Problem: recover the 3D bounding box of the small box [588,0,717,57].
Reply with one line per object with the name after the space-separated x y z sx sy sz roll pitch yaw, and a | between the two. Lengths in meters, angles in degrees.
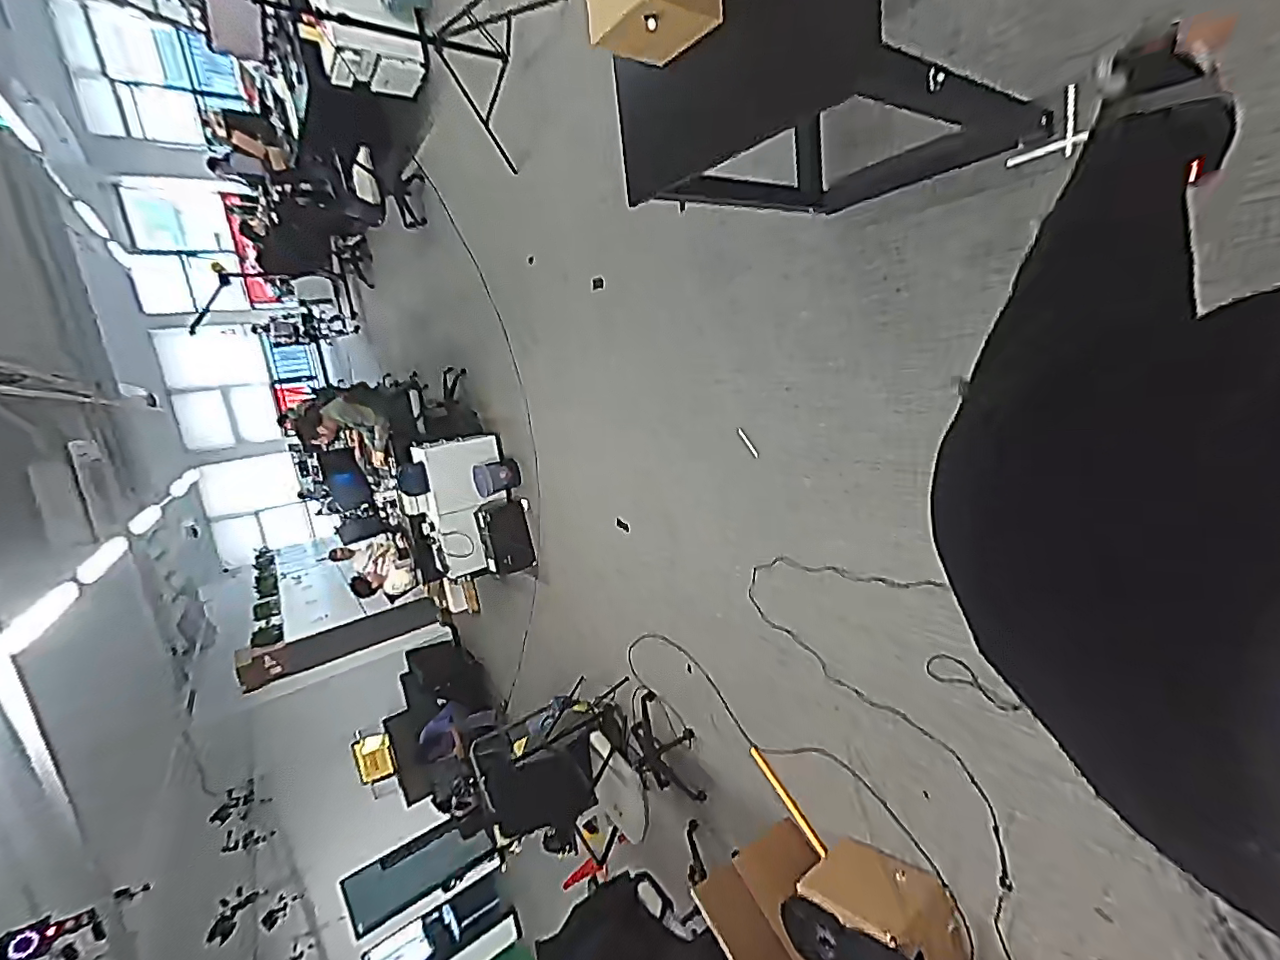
0.022 -0.875 0.934 0.179 0.176 0.168 16 116 53 | small box
